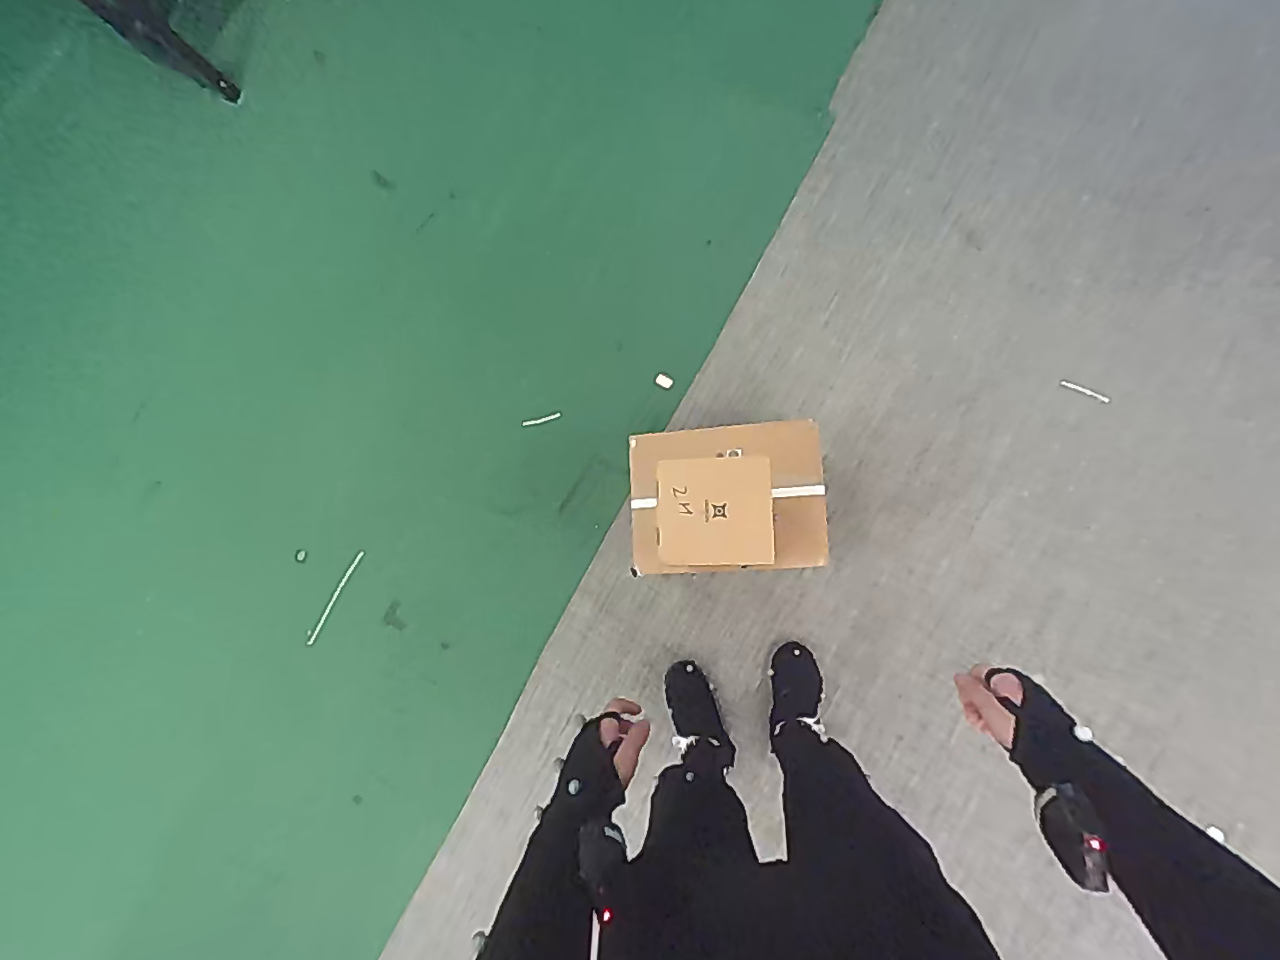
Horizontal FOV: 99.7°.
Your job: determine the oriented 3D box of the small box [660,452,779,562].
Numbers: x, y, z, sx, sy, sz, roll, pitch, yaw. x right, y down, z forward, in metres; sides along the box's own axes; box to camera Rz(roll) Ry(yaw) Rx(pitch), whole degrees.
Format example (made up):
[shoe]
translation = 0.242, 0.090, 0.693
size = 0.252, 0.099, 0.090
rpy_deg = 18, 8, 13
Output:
[small box]
translation = 0.130, 0.050, 0.884
size = 0.179, 0.176, 0.168
rpy_deg = -2, 81, 11
